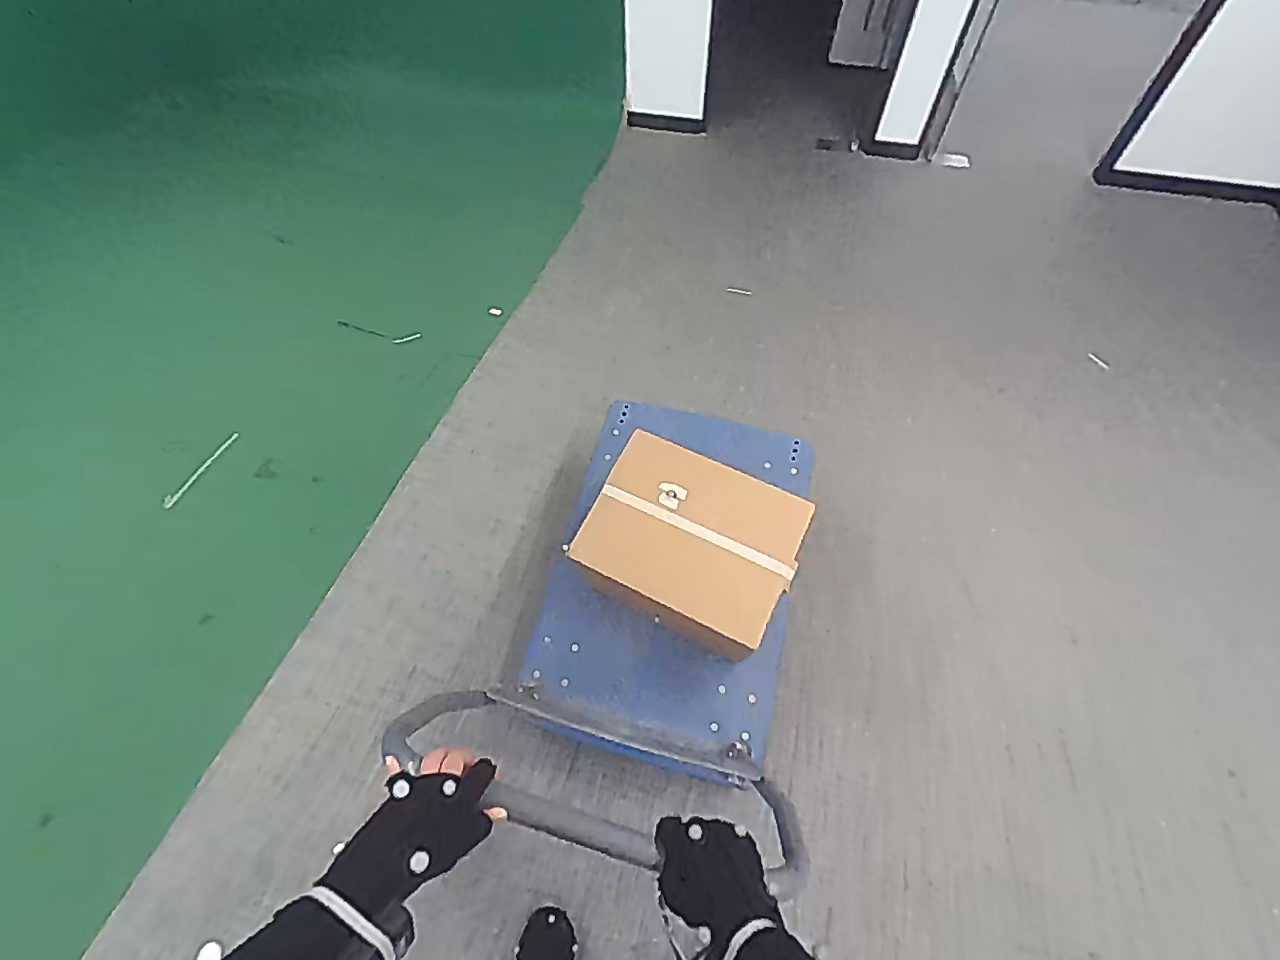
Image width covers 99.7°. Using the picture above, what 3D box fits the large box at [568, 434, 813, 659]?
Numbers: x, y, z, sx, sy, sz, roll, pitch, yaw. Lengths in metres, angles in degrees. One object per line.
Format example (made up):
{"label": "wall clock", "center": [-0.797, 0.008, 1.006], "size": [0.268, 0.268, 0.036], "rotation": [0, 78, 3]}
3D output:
{"label": "large box", "center": [0.114, 0.160, 1.202], "size": [0.408, 0.320, 0.320], "rotation": [25, 71, 14]}
